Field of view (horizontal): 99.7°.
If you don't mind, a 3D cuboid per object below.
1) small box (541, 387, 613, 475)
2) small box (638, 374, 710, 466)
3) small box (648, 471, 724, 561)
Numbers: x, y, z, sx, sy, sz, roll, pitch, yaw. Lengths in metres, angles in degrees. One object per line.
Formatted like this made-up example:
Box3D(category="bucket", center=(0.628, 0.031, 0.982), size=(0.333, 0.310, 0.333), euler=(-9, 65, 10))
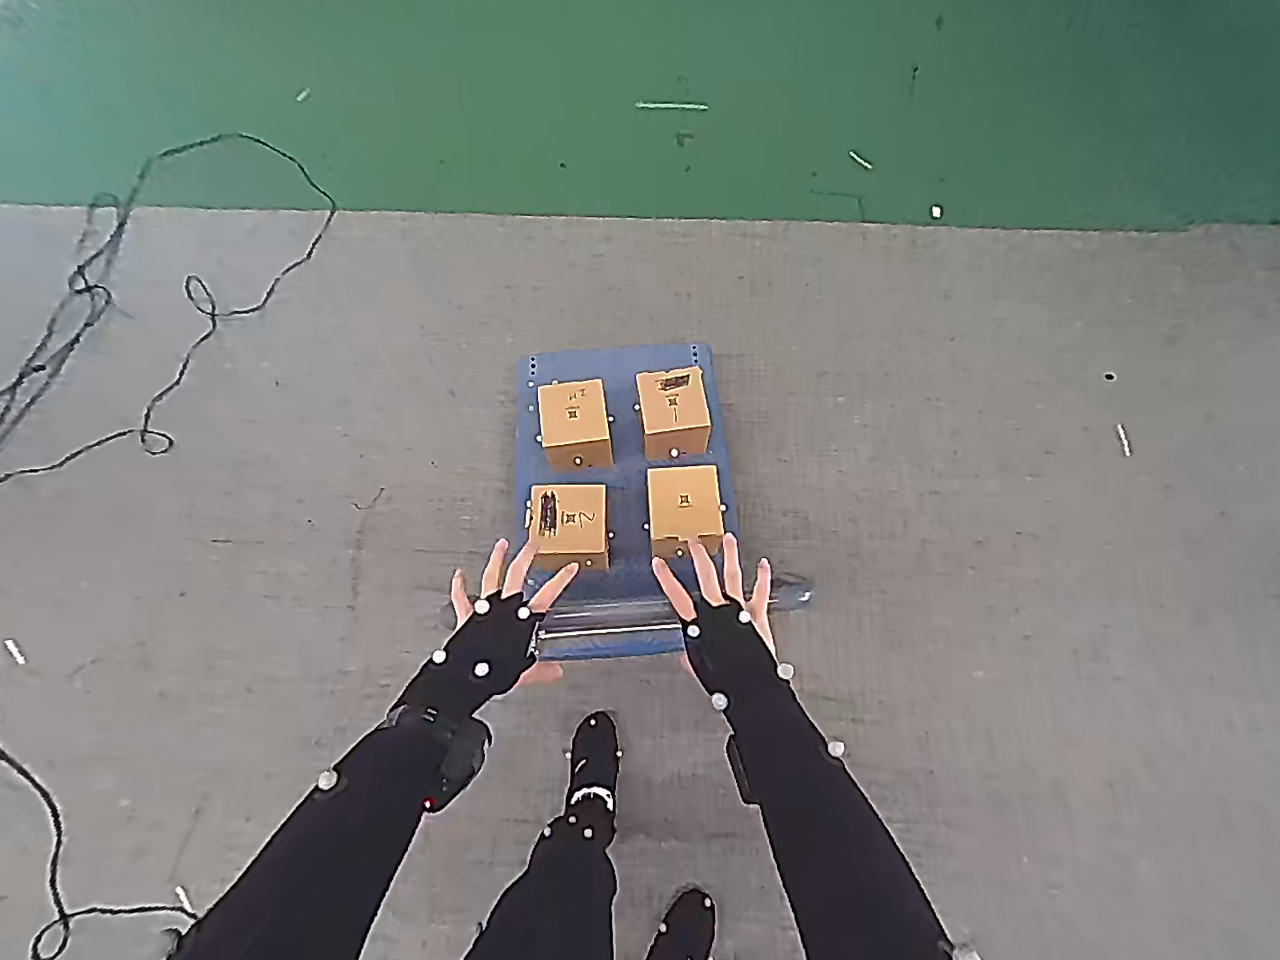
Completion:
Box3D(category="small box", center=(-0.164, -0.121, 1.433), size=(0.168, 0.176, 0.179), euler=(-7, 67, -3))
Box3D(category="small box", center=(0.086, -0.157, 1.443), size=(0.168, 0.176, 0.179), euler=(-8, 68, -1))
Box3D(category="small box", center=(0.107, 0.093, 1.340), size=(0.168, 0.176, 0.179), euler=(-3, 68, -1))
